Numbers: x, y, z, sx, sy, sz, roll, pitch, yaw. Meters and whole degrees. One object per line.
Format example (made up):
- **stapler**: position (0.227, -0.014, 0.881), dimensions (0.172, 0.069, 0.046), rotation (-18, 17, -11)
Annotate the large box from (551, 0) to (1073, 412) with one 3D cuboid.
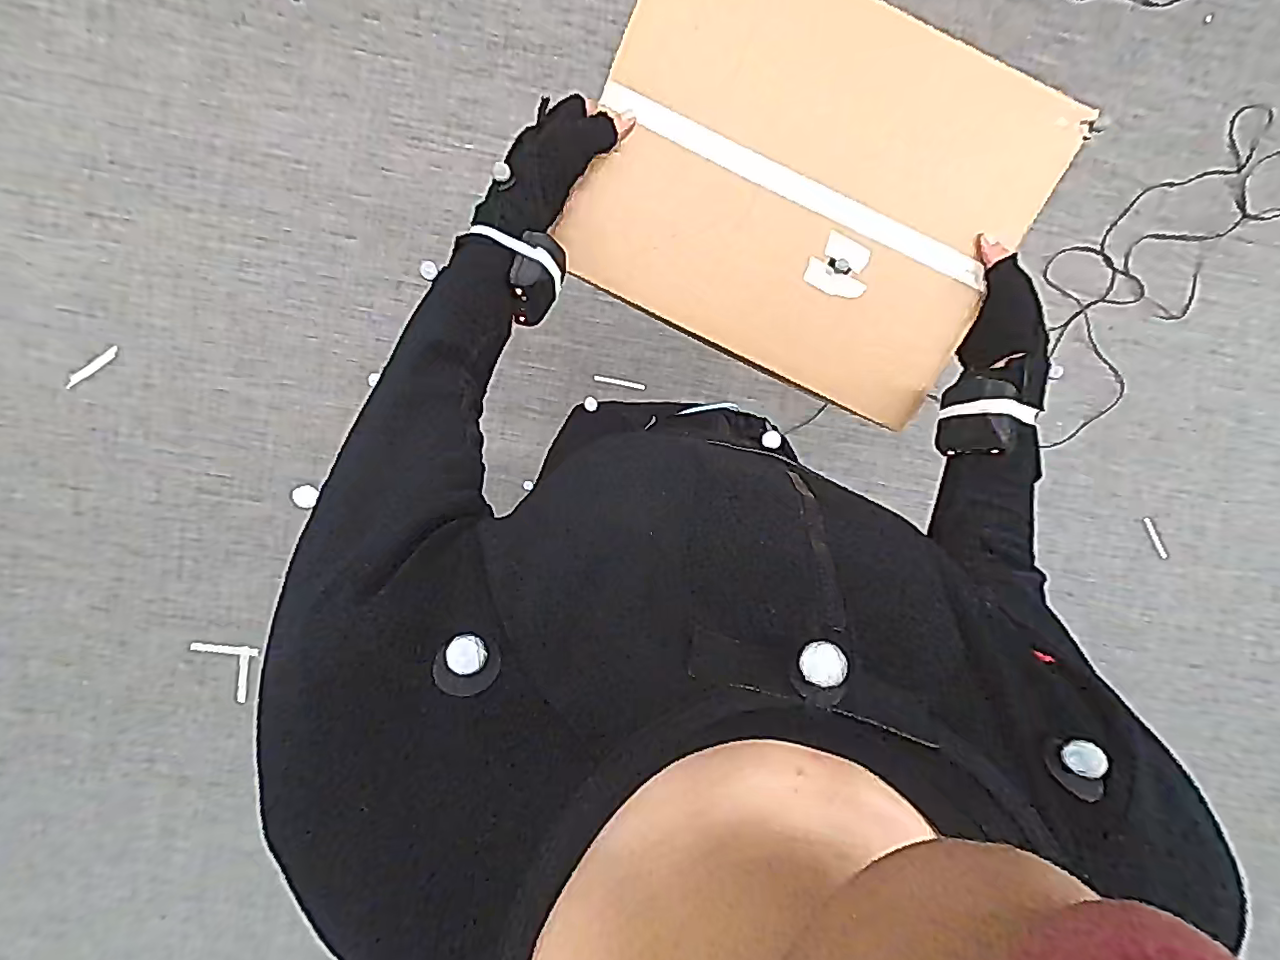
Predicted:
- **large box**: position (0.157, -0.319, 0.657), dimensions (0.408, 0.320, 0.320), rotation (25, 106, -3)
